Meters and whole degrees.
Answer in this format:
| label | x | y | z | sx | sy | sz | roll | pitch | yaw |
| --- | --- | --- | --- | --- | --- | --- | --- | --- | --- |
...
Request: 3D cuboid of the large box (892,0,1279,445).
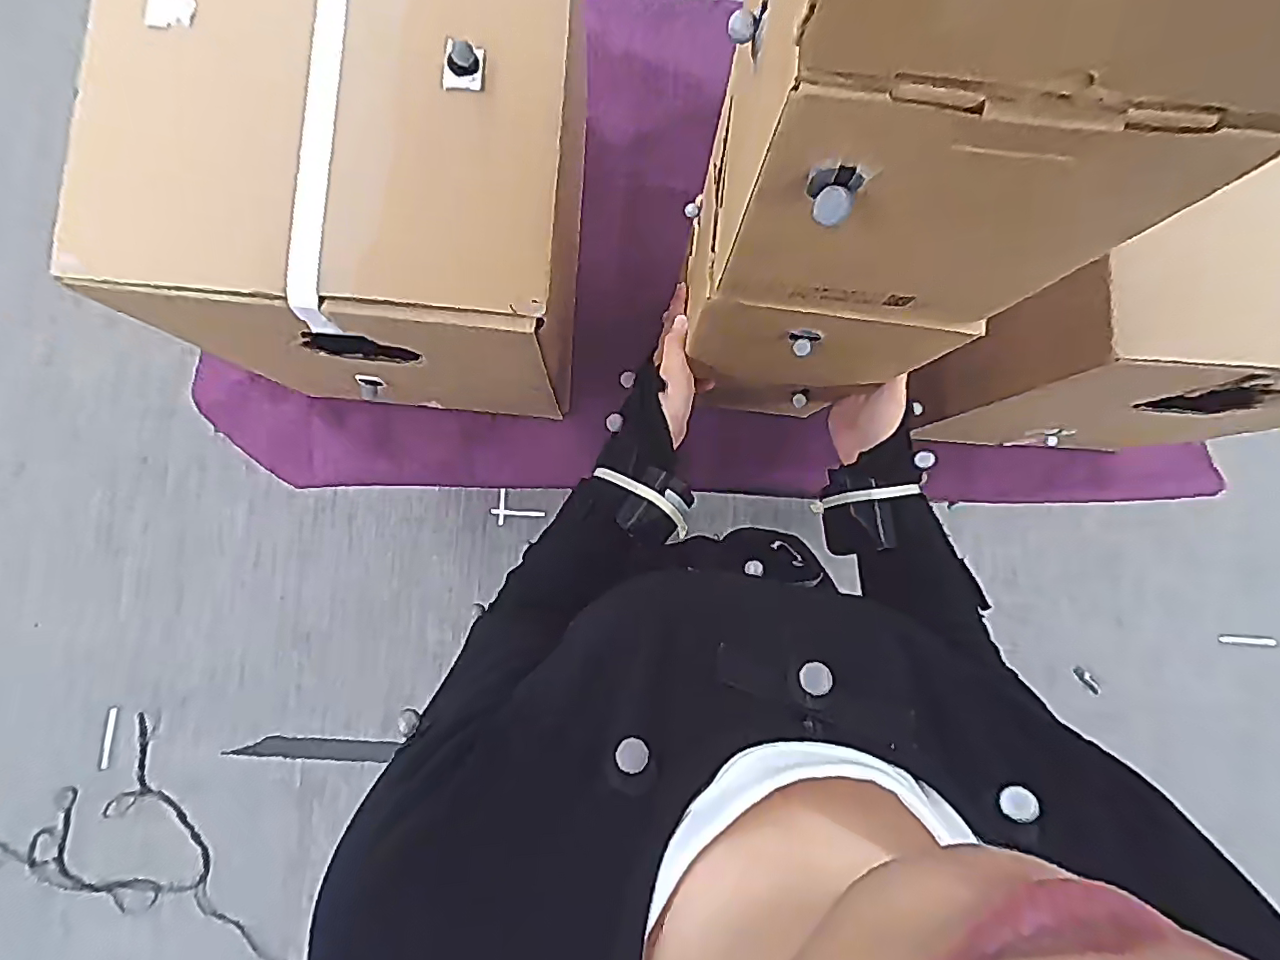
| label | x | y | z | sx | sy | sz | roll | pitch | yaw |
| --- | --- | --- | --- | --- | --- | --- | --- | --- | --- |
| large box | 0.482 | -0.259 | 0.553 | 0.320 | 0.320 | 0.408 | 3 | 83 | -3 |
